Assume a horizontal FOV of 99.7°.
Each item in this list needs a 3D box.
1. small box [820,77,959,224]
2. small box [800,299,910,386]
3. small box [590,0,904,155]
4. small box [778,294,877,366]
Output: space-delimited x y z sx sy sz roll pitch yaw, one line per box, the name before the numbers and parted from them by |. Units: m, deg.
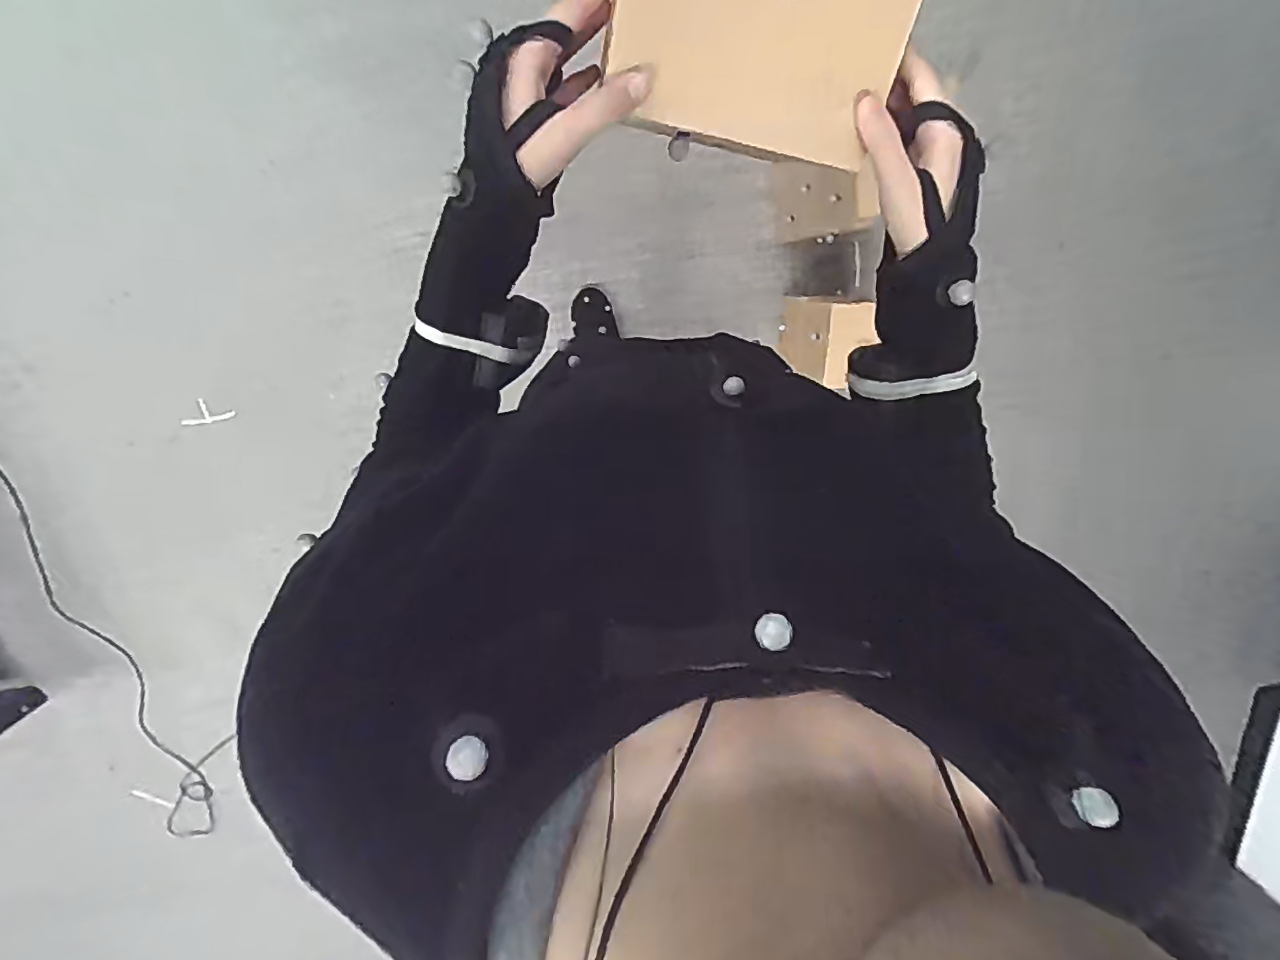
small box | 0.423 -0.554 0.939 0.168 0.176 0.179 -10 107 0
small box | 0.467 -0.307 1.200 0.168 0.176 0.179 0 108 -3
small box | 0.062 -0.325 0.347 0.168 0.176 0.179 7 120 -10
small box | 0.461 -0.376 1.351 0.179 0.176 0.168 0 108 -3
